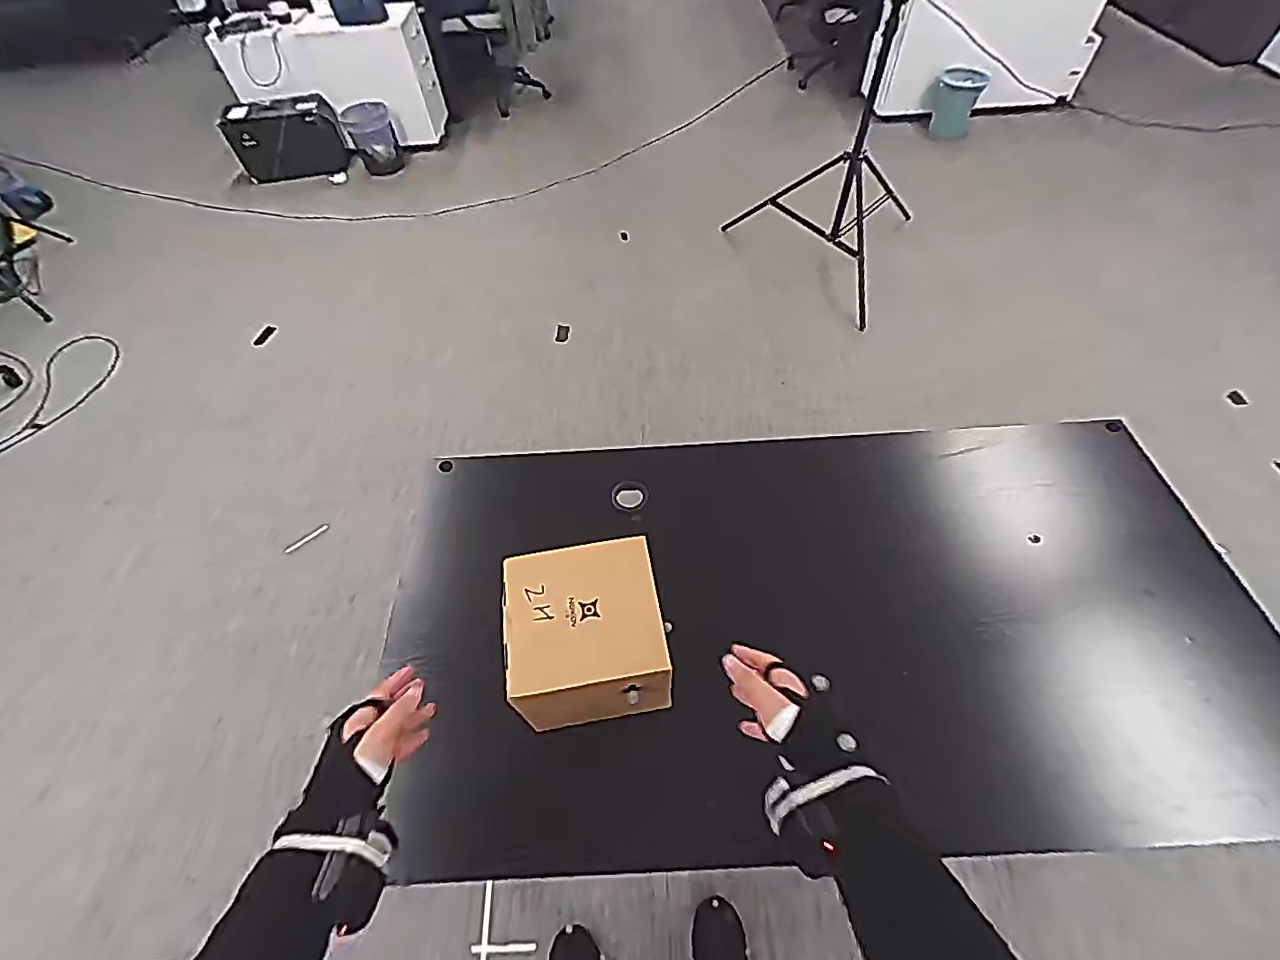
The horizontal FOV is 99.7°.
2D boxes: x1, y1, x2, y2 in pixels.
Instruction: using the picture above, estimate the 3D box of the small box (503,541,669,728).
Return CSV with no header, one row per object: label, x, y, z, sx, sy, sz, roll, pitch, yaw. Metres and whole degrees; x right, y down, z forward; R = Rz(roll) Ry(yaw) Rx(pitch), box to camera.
small box,-0.065,0.197,0.677,0.179,0.176,0.168,-9,55,-3
